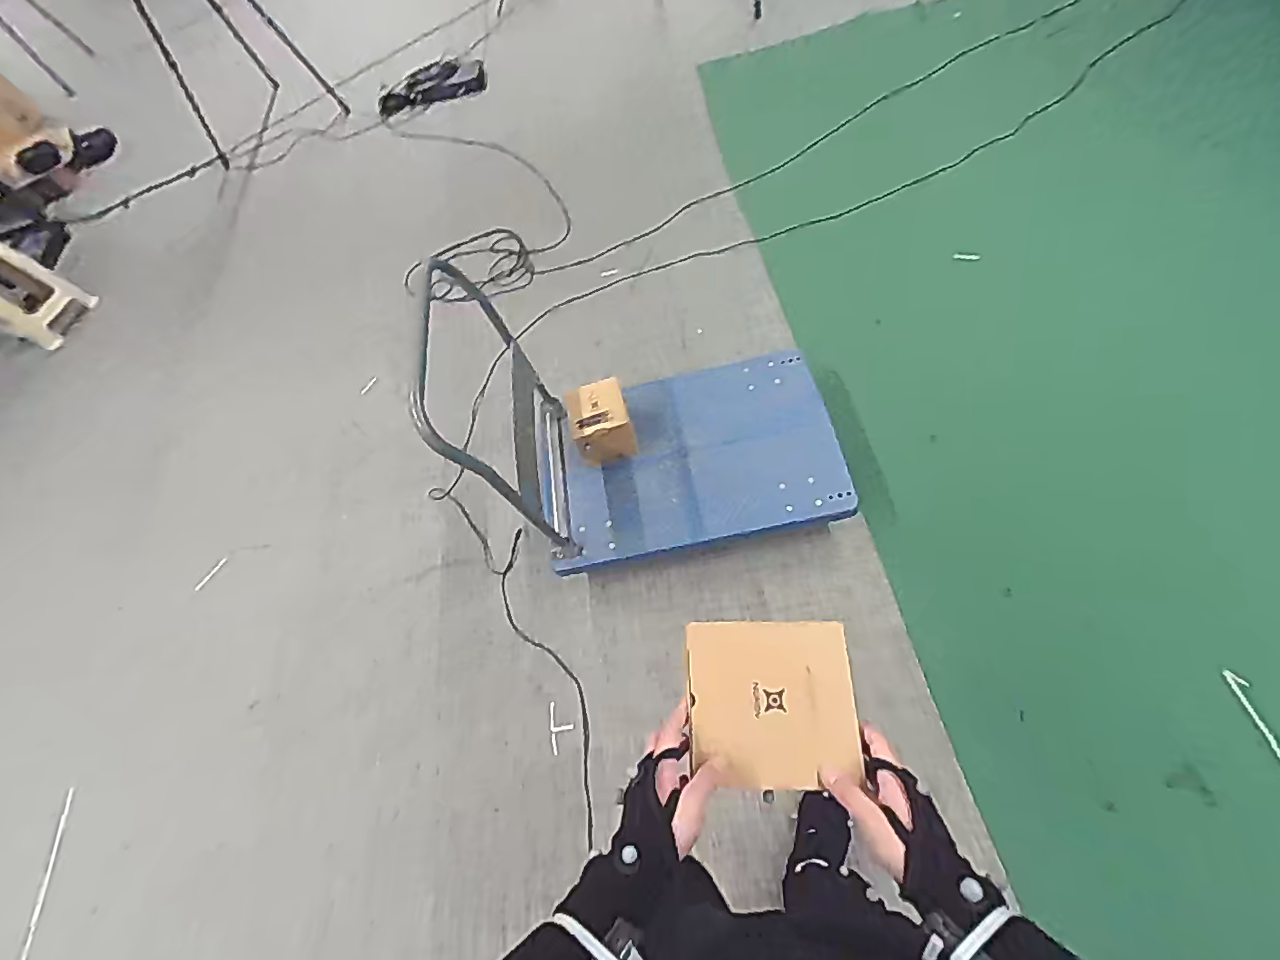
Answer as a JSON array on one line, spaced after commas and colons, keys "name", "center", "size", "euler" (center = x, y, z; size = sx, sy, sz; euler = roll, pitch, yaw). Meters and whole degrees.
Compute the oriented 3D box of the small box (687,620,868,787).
[{"name": "small box", "center": [0.146, 0.265, 0.644], "size": [0.179, 0.176, 0.168], "euler": [-1, 65, 3]}]
